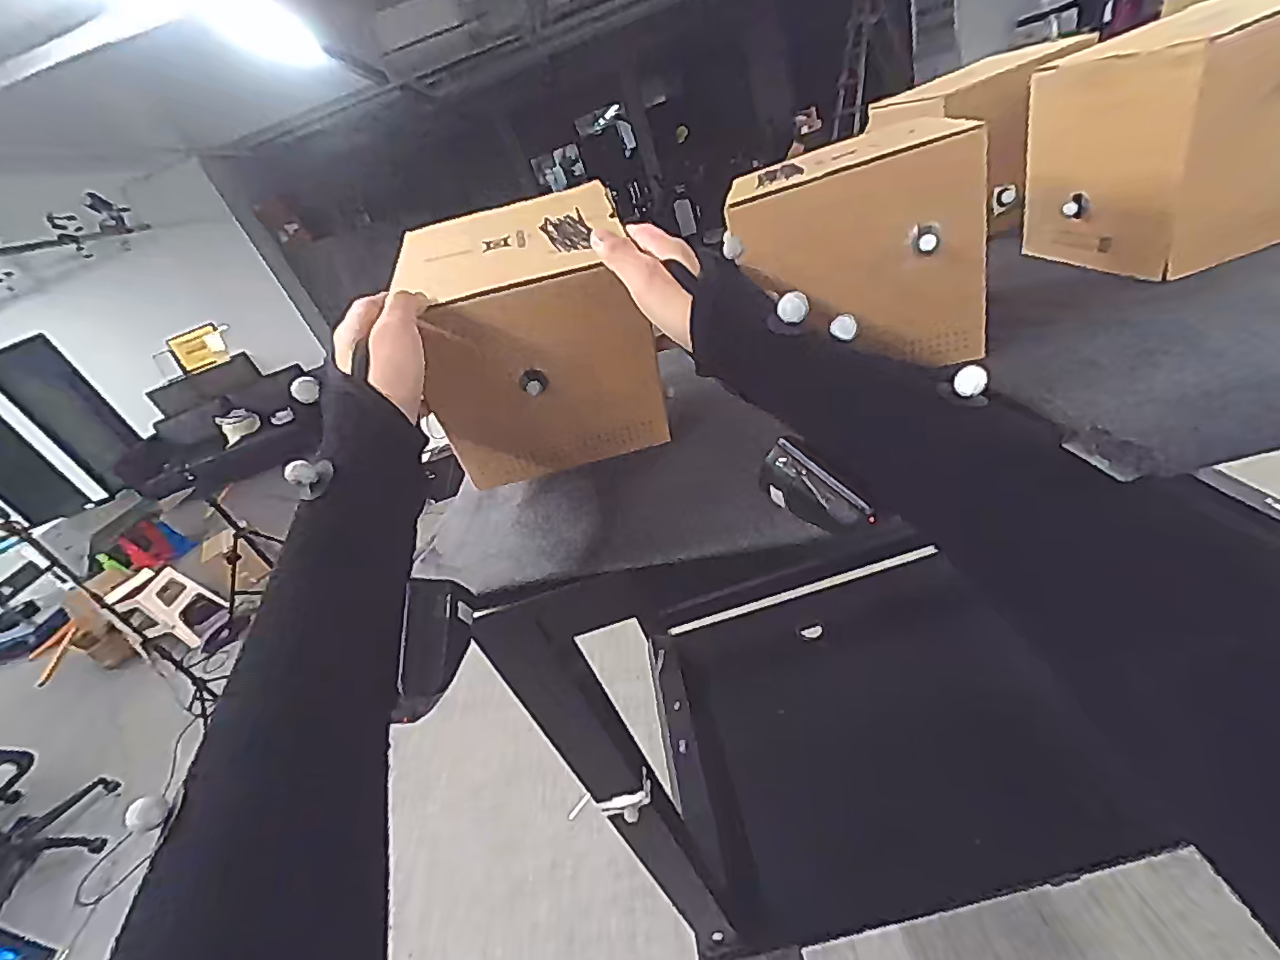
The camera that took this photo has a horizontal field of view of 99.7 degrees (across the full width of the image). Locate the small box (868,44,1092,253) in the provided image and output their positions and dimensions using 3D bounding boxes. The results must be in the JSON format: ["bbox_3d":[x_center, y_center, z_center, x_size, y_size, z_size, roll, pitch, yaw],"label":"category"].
[{"bbox_3d":[0.410,-0.404,0.680,0.168,0.176,0.179,-20,32,5],"label":"small box"}]

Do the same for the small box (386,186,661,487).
[{"bbox_3d":[-0.084,-0.121,0.465,0.179,0.176,0.168,-16,45,-1],"label":"small box"}]

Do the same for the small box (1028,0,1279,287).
[{"bbox_3d":[0.471,-0.288,0.463,0.179,0.176,0.168,-20,31,4],"label":"small box"}]
